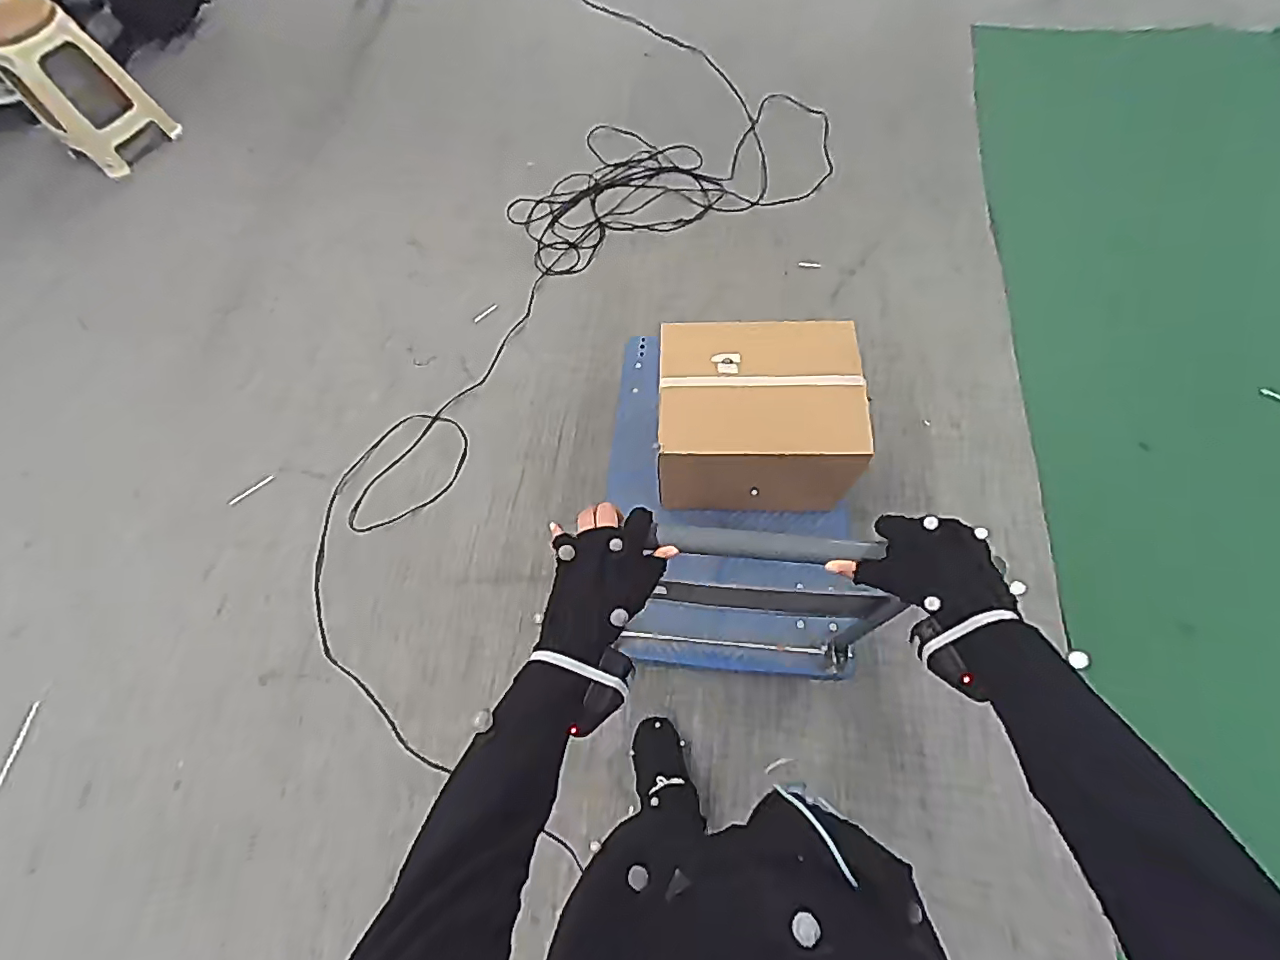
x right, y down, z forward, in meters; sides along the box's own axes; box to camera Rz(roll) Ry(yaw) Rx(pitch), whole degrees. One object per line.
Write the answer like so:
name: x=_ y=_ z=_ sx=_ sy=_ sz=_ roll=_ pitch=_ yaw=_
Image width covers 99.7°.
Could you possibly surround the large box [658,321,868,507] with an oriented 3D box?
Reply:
large box: x=0.252 y=-0.131 z=1.232 sx=0.408 sy=0.320 sz=0.320 roll=-1 pitch=67 yaw=5
